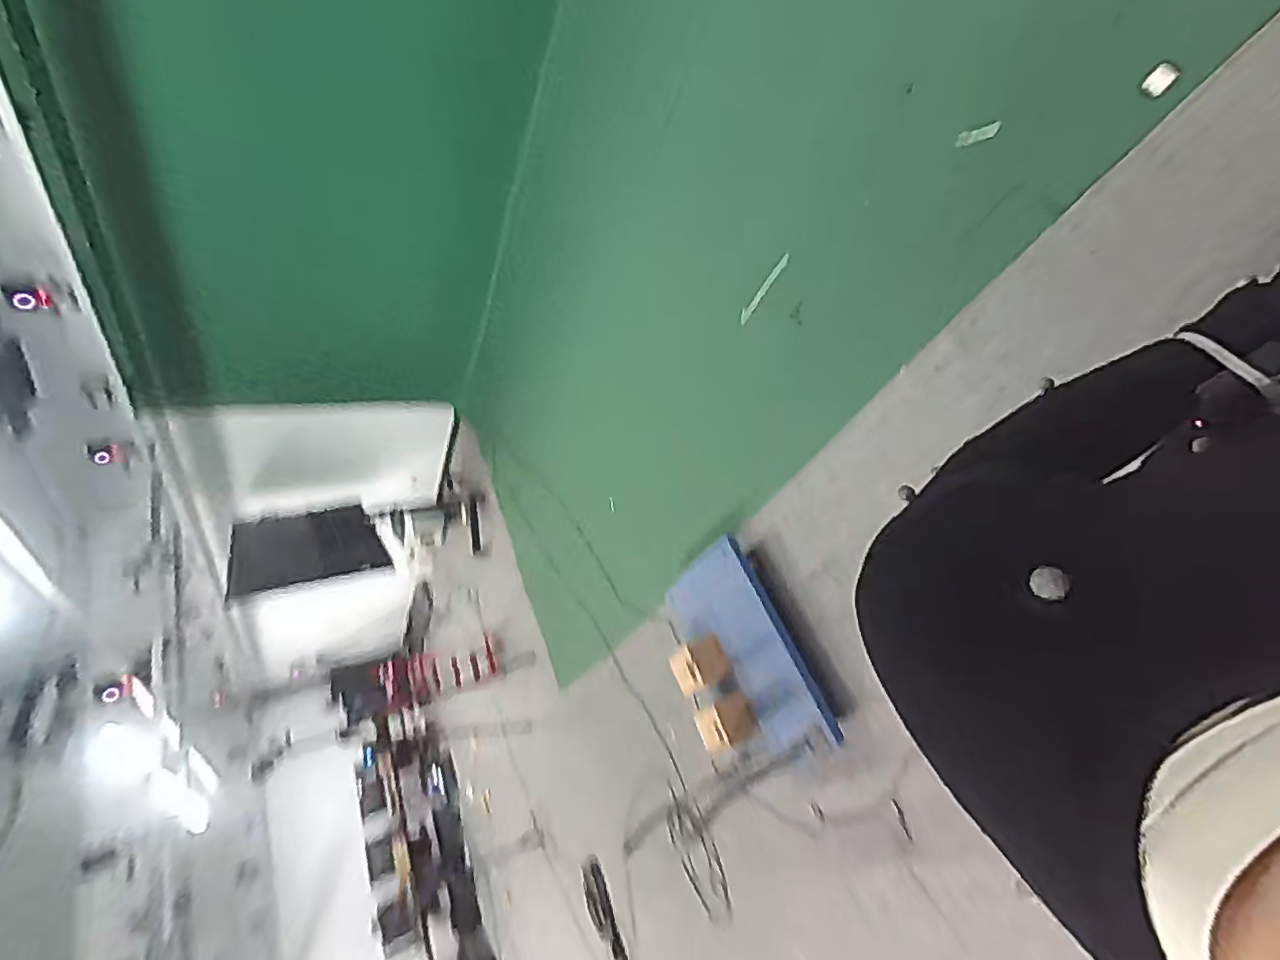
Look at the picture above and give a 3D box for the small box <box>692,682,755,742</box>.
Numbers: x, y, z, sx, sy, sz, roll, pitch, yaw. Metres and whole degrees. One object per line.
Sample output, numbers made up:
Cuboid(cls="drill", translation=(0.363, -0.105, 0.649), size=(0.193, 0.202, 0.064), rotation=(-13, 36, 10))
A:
Cuboid(cls="small box", translation=(0.352, 0.957, 2.235), size=(0.179, 0.176, 0.168), rotation=(-52, 55, 48))
